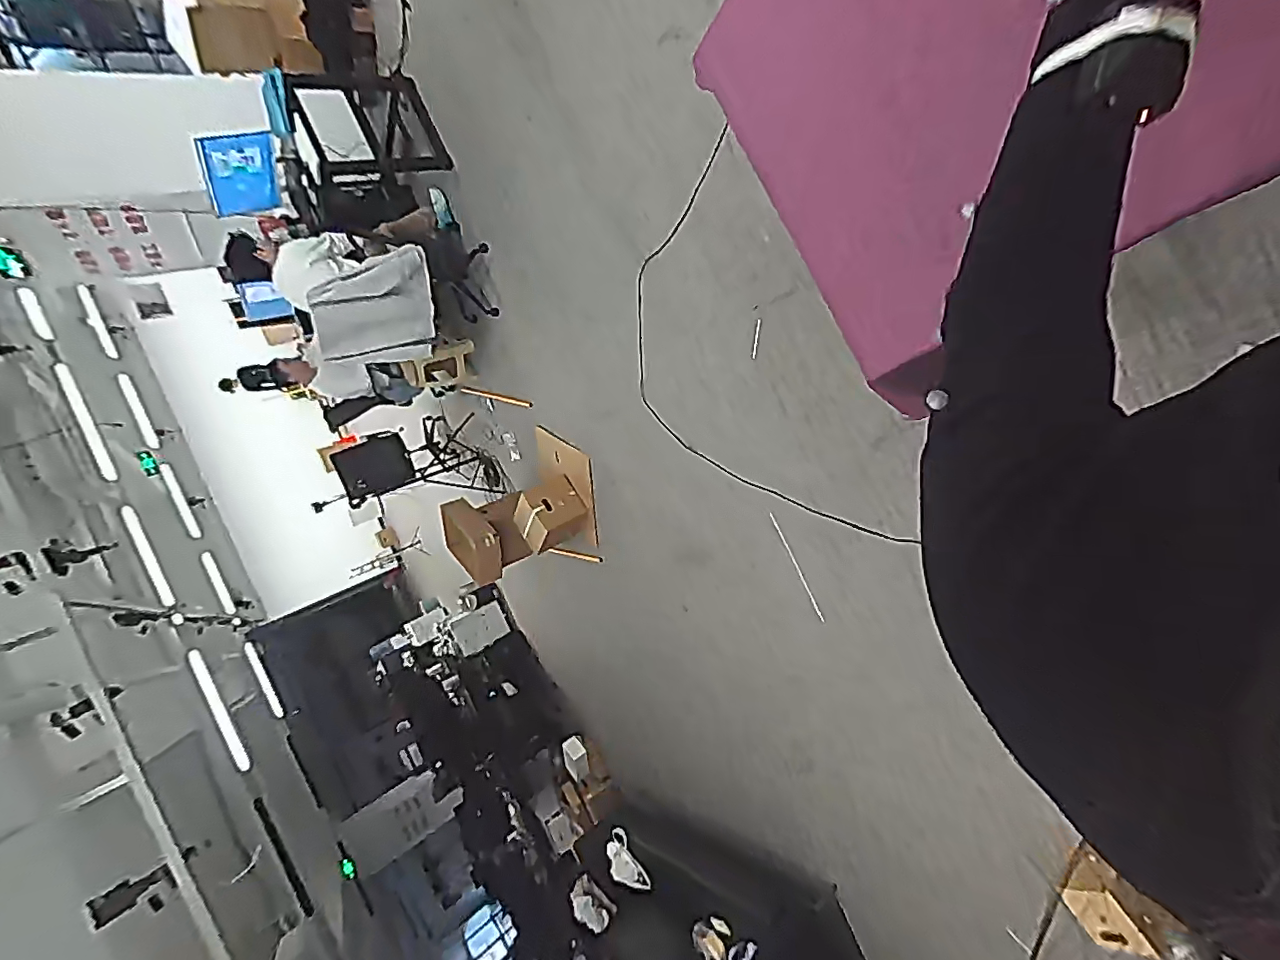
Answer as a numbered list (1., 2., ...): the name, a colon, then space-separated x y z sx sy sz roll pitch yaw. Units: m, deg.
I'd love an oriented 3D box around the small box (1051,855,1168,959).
1. small box: 1.337 1.215 1.537 0.179 0.176 0.168 56 146 16
